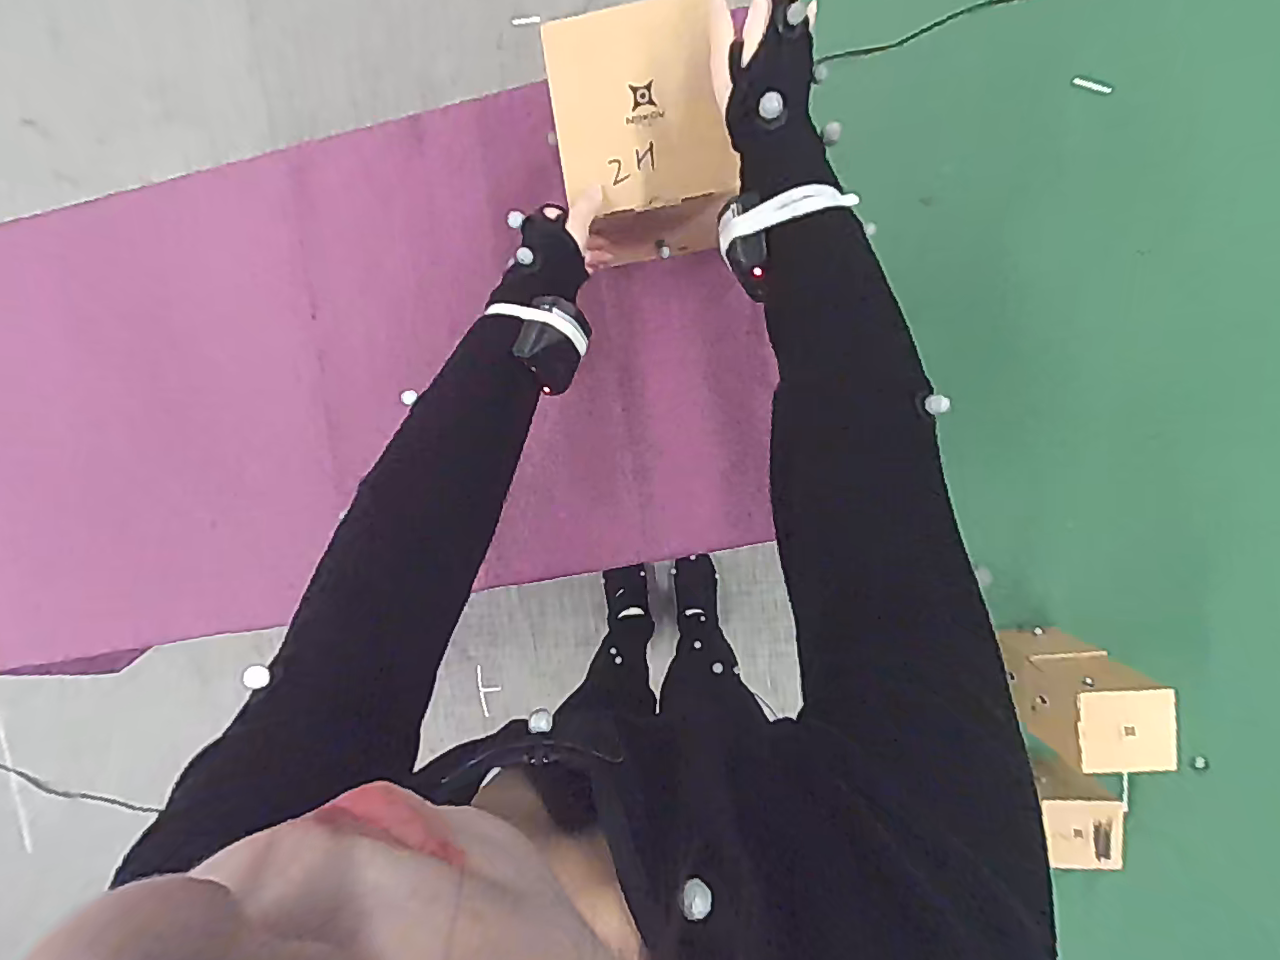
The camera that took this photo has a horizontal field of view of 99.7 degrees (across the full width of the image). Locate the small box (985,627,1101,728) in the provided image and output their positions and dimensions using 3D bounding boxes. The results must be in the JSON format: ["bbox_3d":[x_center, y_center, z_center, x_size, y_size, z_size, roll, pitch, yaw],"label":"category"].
[{"bbox_3d":[0.956,0.467,1.293,0.168,0.176,0.179,-5,93,5],"label":"small box"}]

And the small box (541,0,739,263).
[{"bbox_3d":[0.007,-0.350,0.569,0.168,0.176,0.179,-7,97,7],"label":"small box"}]

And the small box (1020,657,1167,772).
[{"bbox_3d":[0.939,0.482,1.131,0.179,0.176,0.168,-5,94,6],"label":"small box"}]
